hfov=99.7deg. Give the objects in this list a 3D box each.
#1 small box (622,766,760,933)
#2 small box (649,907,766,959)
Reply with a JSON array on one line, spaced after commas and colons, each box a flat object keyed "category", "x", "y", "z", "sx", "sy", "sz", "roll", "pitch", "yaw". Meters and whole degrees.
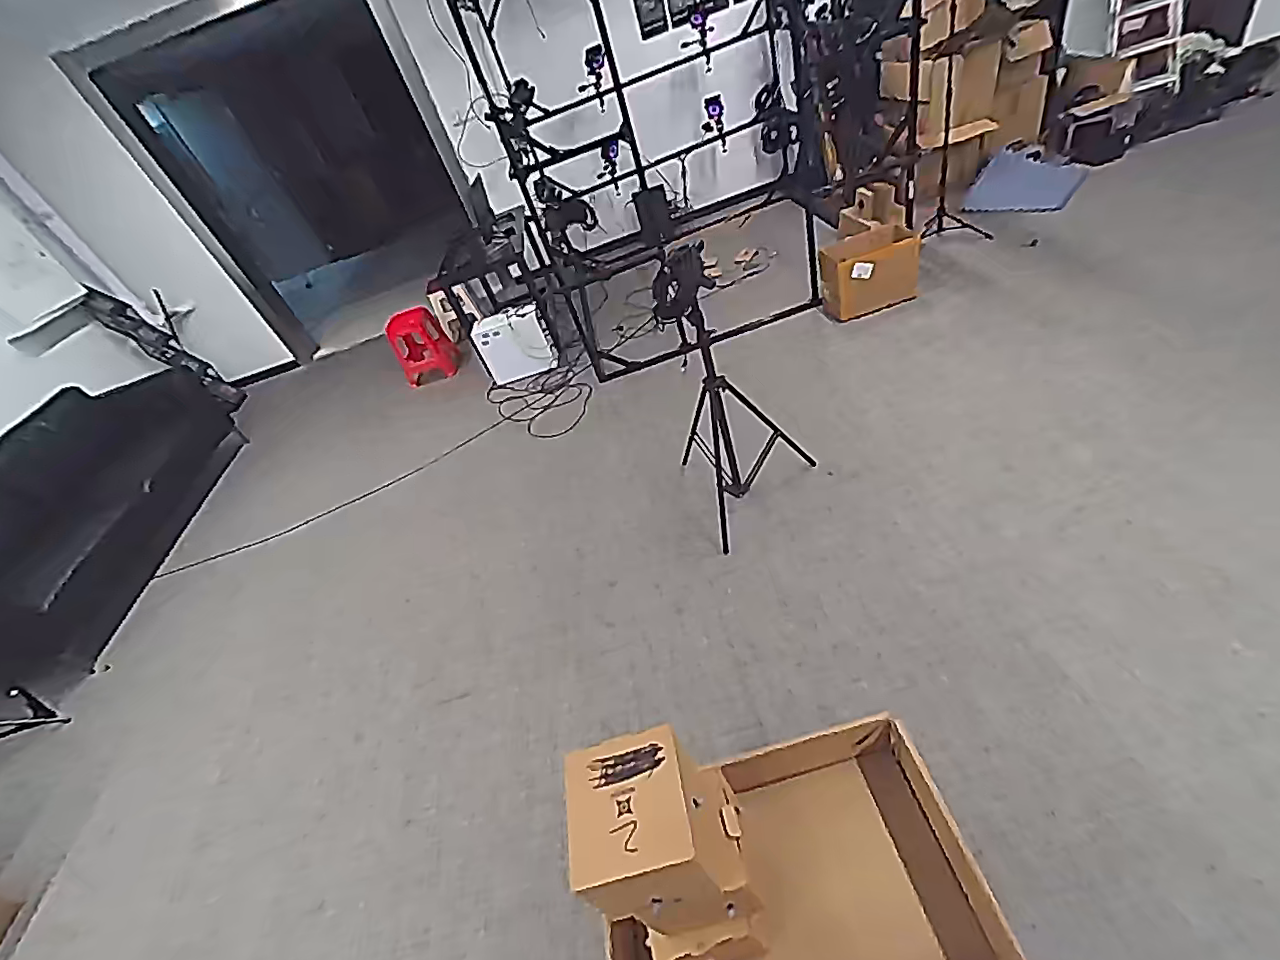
[{"category": "small box", "x": 0.085, "y": 0.596, "z": 0.871, "sx": 0.179, "sy": 0.176, "sz": 0.168, "roll": -19, "pitch": 39, "yaw": 4}, {"category": "small box", "x": 0.107, "y": 0.737, "z": 0.960, "sx": 0.168, "sy": 0.176, "sz": 0.179, "roll": -22, "pitch": 39, "yaw": 1}]
